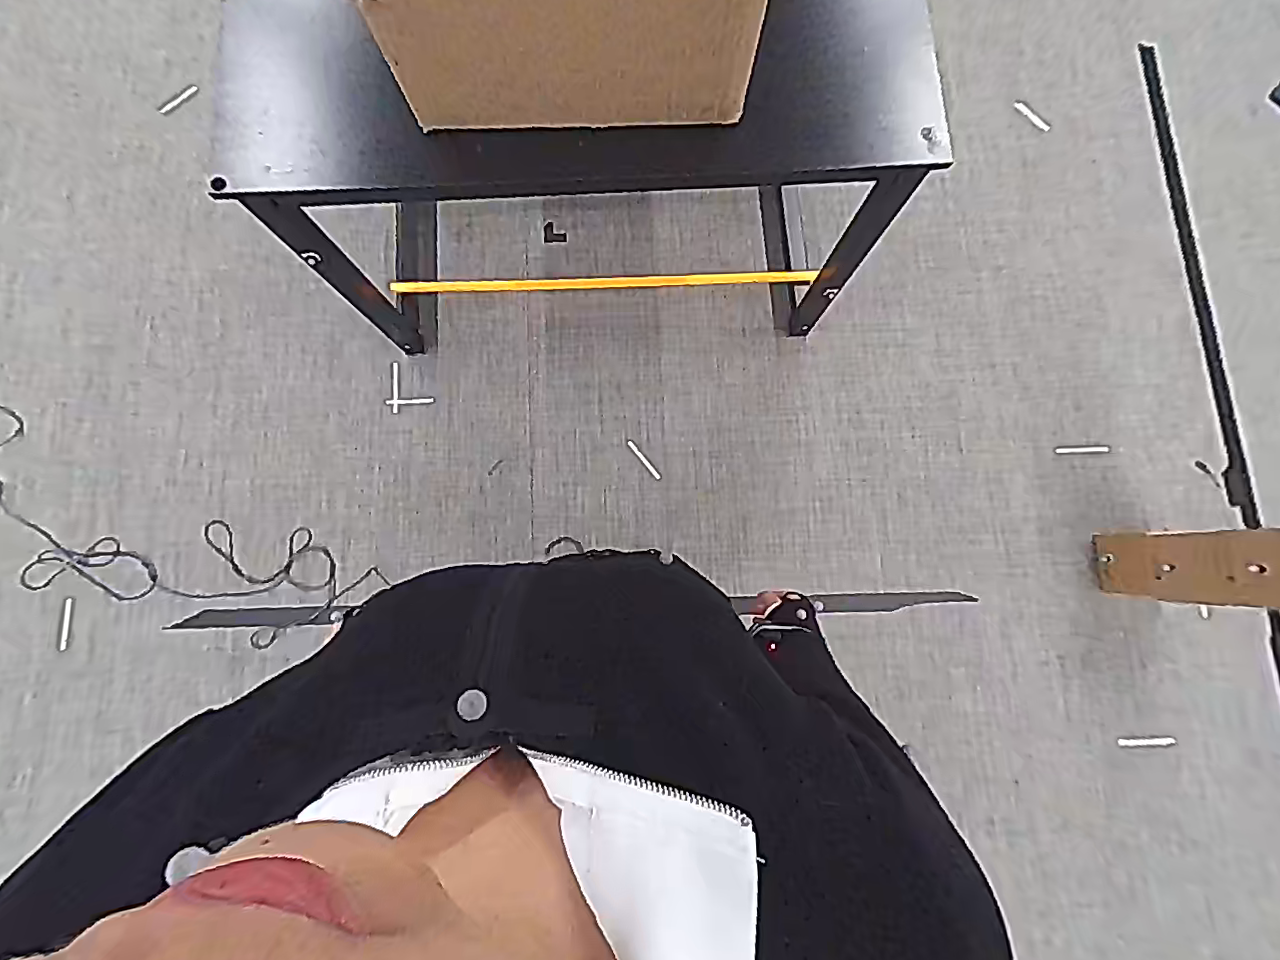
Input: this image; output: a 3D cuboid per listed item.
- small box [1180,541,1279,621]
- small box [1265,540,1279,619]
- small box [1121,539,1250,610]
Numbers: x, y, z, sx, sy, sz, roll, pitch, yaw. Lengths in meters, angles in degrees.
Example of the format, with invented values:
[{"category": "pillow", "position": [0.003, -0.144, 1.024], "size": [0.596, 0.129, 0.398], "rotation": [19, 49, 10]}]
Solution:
[{"category": "small box", "position": [1.380, 0.219, 1.205], "size": [0.179, 0.176, 0.168], "rotation": [-2, 81, -1]}, {"category": "small box", "position": [1.380, 0.195, 1.043], "size": [0.179, 0.176, 0.168], "rotation": [-2, 81, -1]}, {"category": "small box", "position": [1.386, 0.235, 1.370], "size": [0.179, 0.176, 0.168], "rotation": [-3, 81, 0]}]
